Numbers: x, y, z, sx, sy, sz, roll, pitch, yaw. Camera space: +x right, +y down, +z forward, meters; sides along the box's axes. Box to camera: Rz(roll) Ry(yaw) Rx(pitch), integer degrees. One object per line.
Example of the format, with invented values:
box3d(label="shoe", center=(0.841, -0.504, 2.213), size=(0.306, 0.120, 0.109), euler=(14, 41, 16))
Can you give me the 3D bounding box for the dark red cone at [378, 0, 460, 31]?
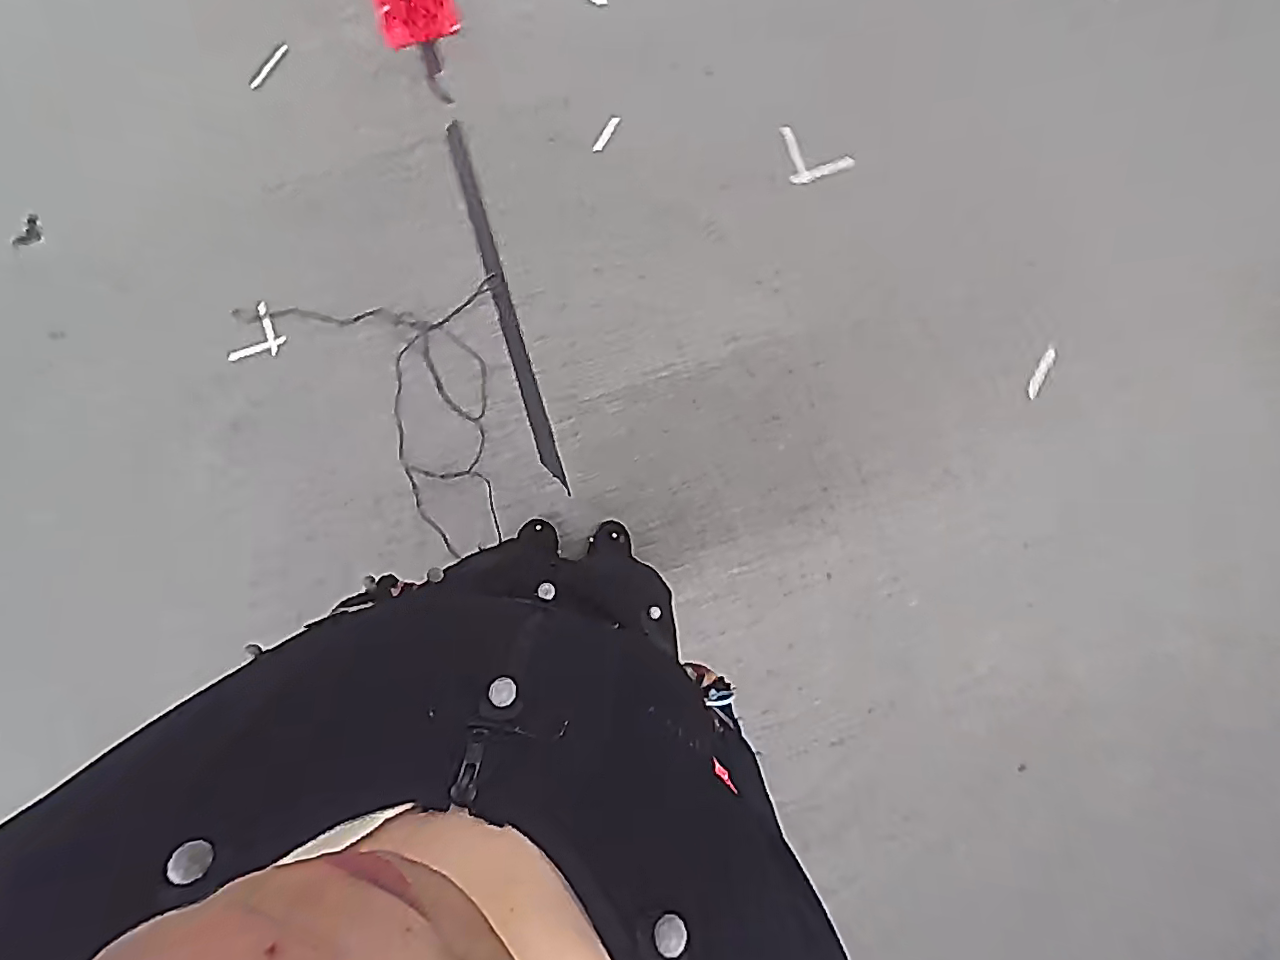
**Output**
box3d(label="dark red cone", center=(-0.581, -1.273, 1.230), size=(0.201, 0.394, 0.202), euler=(-18, 89, -1))
